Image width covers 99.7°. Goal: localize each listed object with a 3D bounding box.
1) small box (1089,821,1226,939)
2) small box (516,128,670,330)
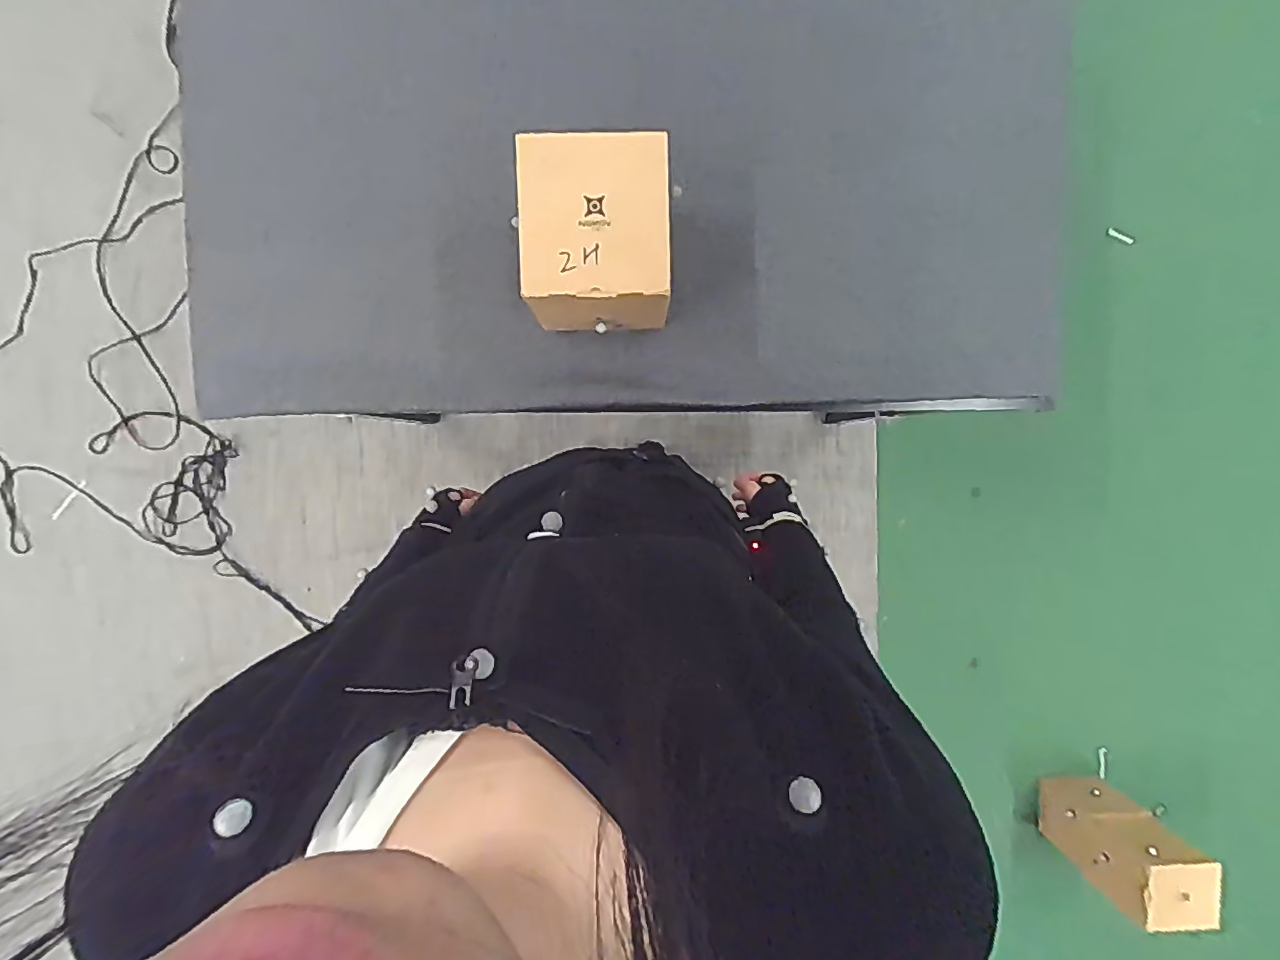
[{"bbox_3d":[1.254,0.966,1.320,0.179,0.176,0.168,-2,93,-2],"label":"small box"},{"bbox_3d":[-0.053,-0.291,0.660,0.168,0.176,0.179,-1,93,-1],"label":"small box"}]
